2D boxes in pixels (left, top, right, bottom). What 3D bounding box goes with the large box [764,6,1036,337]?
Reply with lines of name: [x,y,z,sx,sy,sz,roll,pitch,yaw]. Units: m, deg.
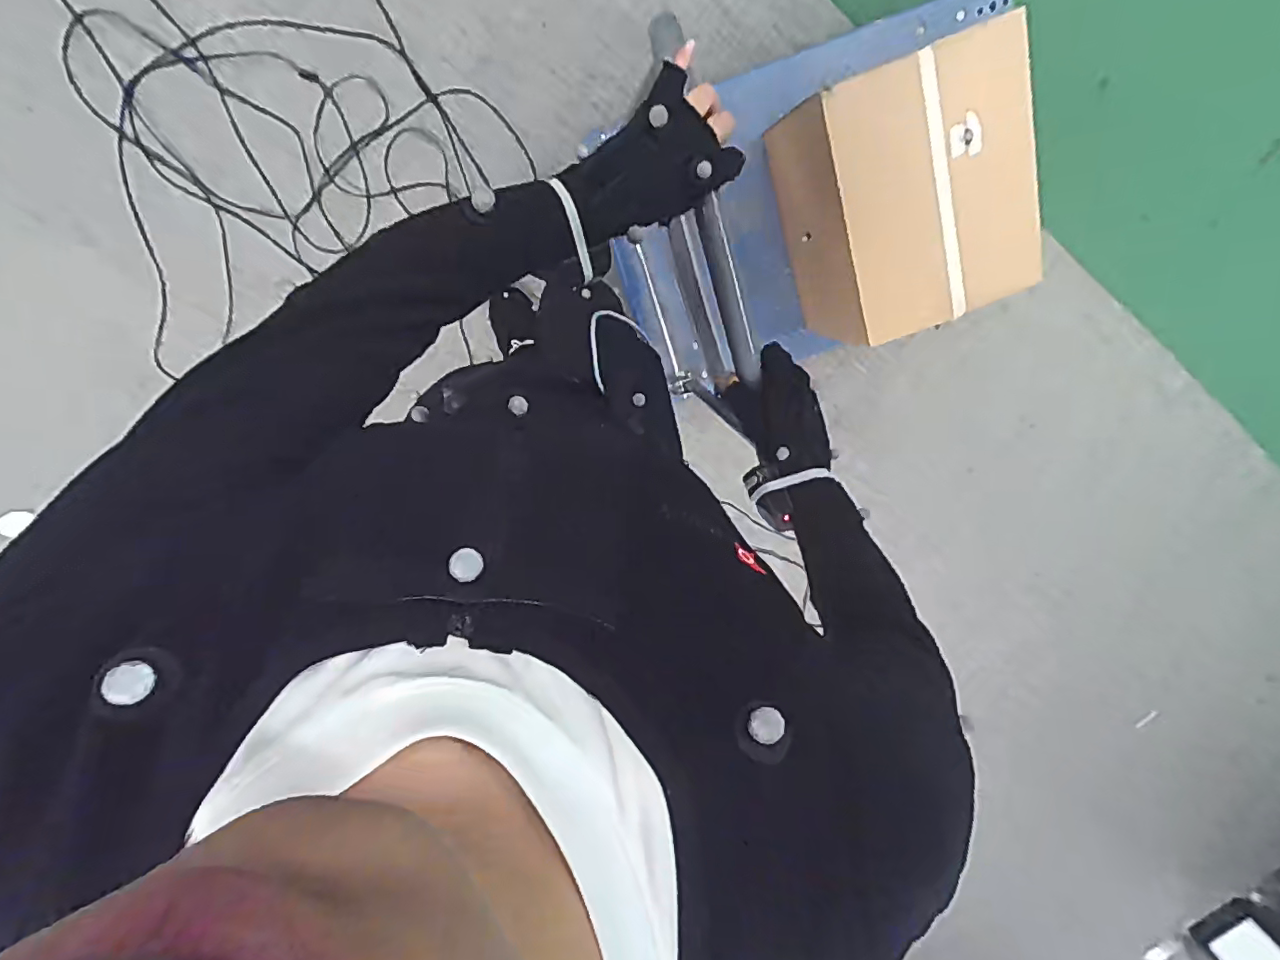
large box: [0.465,-0.528,1.011,0.320,0.320,0.408,-21,112,3]
